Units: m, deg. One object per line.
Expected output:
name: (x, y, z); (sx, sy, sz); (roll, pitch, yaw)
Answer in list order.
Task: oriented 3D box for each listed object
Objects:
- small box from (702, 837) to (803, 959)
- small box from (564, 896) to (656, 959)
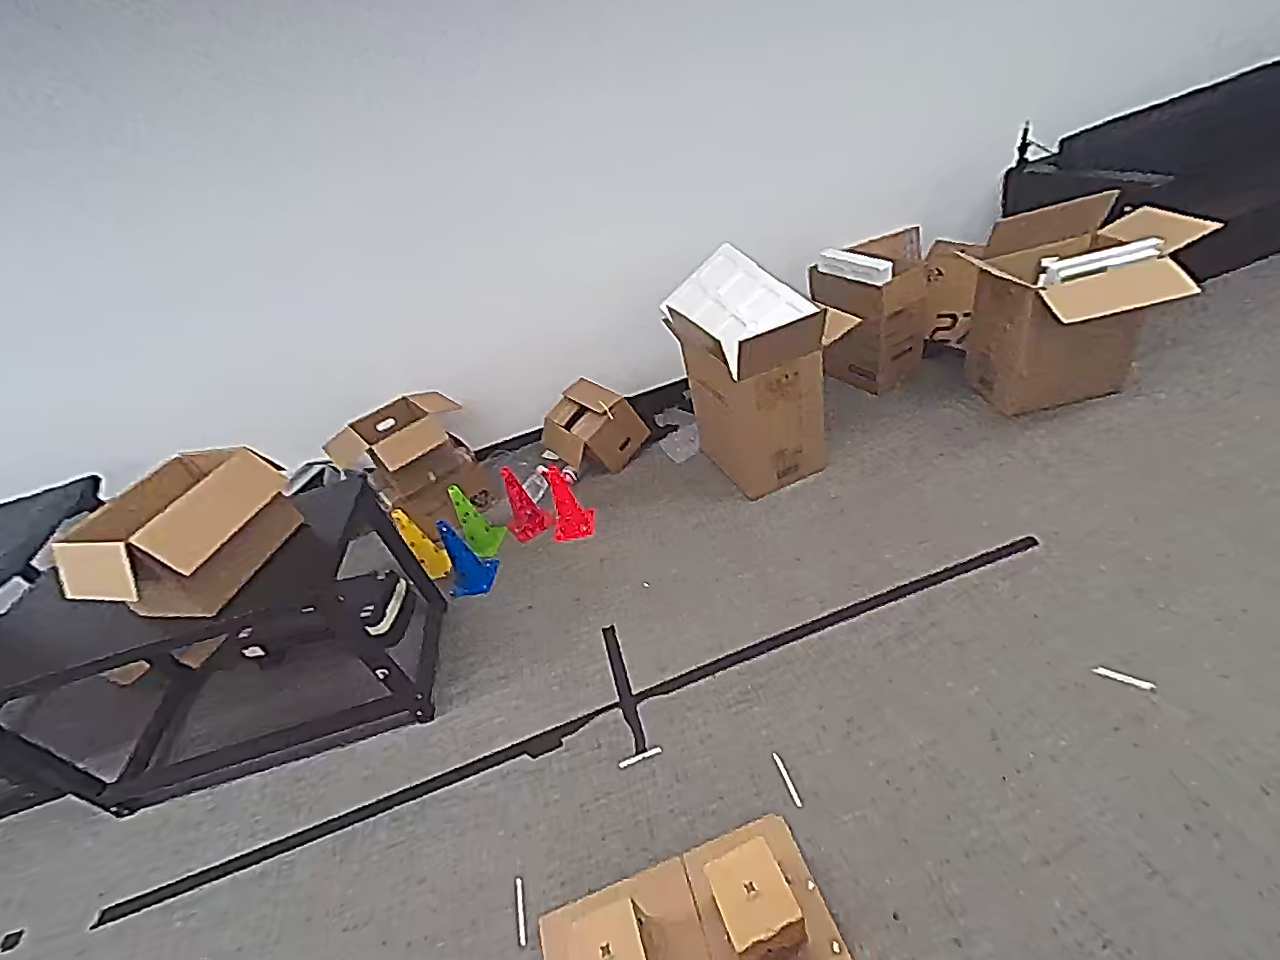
small box: (0.264, 0.993, 1.269); (0.168, 0.176, 0.179); (-23, 37, -9)
small box: (-0.058, 1.106, 1.232); (0.168, 0.176, 0.179); (-21, 37, -6)
